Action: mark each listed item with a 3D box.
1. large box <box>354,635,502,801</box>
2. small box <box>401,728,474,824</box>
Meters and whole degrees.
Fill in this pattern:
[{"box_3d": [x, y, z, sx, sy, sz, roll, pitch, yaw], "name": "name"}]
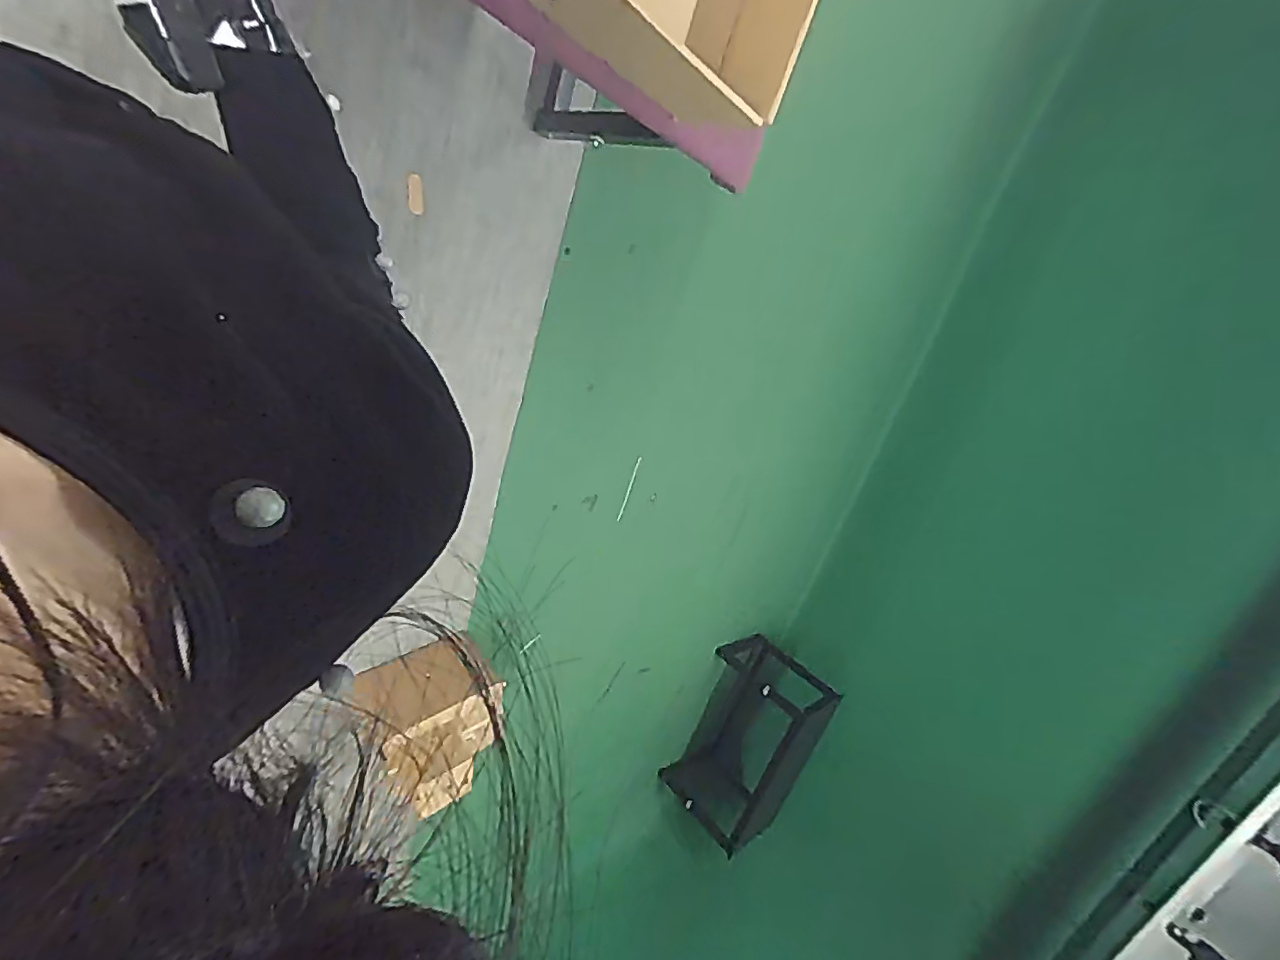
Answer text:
[{"box_3d": [-0.755, 0.836, 1.953, 0.408, 0.320, 0.320, -18, 128, -39], "name": "large box"}, {"box_3d": [-0.654, 0.943, 1.737, 0.179, 0.176, 0.168, -12, 123, -41], "name": "small box"}]
